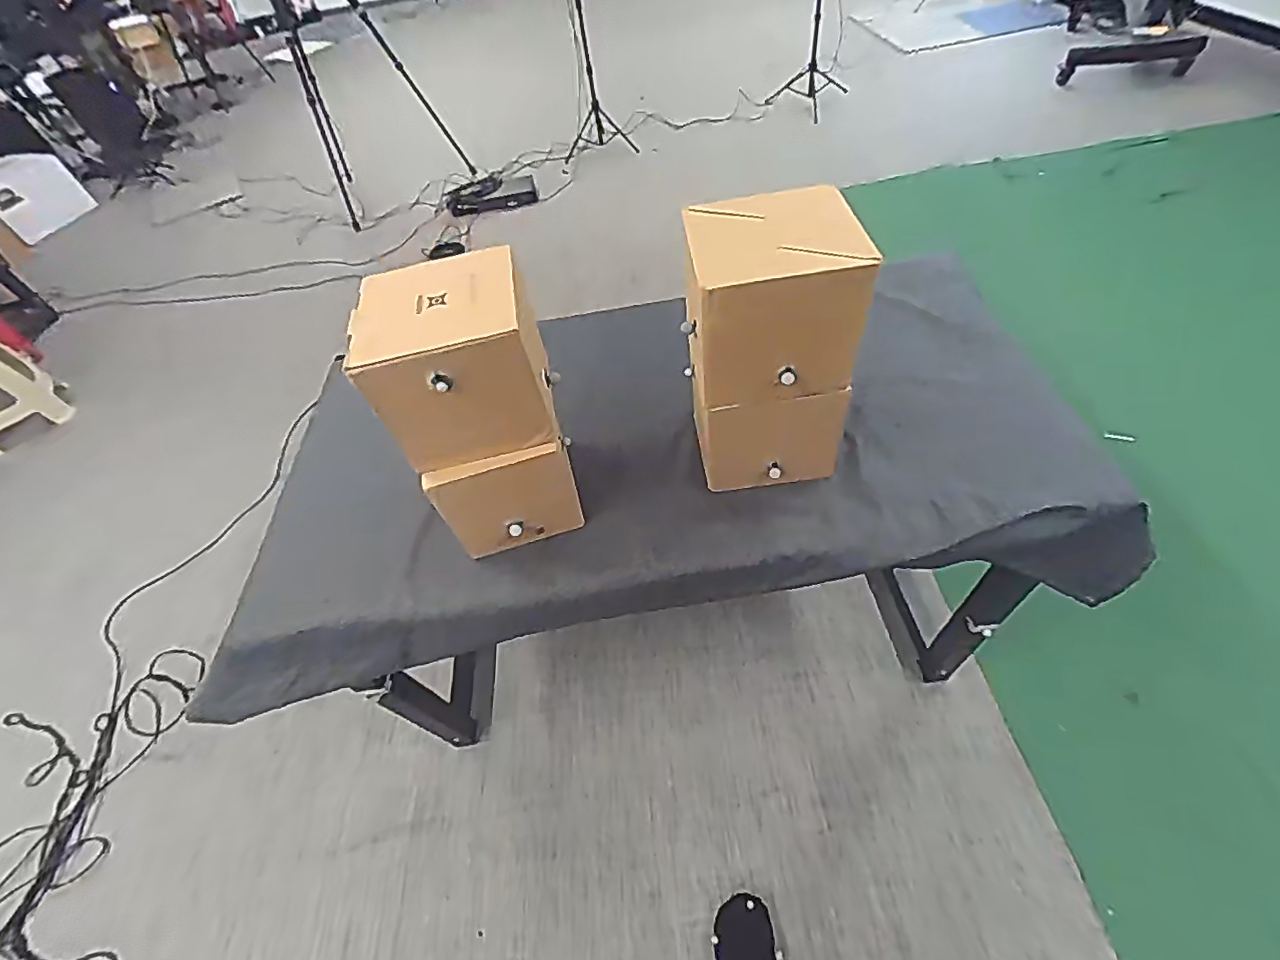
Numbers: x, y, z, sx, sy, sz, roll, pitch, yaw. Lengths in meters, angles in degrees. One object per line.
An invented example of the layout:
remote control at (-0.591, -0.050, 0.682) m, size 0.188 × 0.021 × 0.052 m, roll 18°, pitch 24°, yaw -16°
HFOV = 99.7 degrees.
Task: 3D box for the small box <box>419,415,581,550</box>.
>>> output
small box at (-0.189, -0.033, 0.745) m, size 0.168 × 0.176 × 0.179 m, roll -16°, pitch 53°, yaw -4°

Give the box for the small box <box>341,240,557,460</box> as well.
small box at (-0.207, -0.144, 0.627) m, size 0.179 × 0.176 × 0.168 m, roll -13°, pitch 53°, yaw -2°

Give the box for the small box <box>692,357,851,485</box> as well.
small box at (0.167, -0.111, 0.750) m, size 0.179 × 0.176 × 0.168 m, roll -8°, pitch 52°, yaw 2°

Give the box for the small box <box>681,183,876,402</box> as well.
small box at (0.143, -0.214, 0.619) m, size 0.179 × 0.176 × 0.168 m, roll -7°, pitch 52°, yaw 3°
